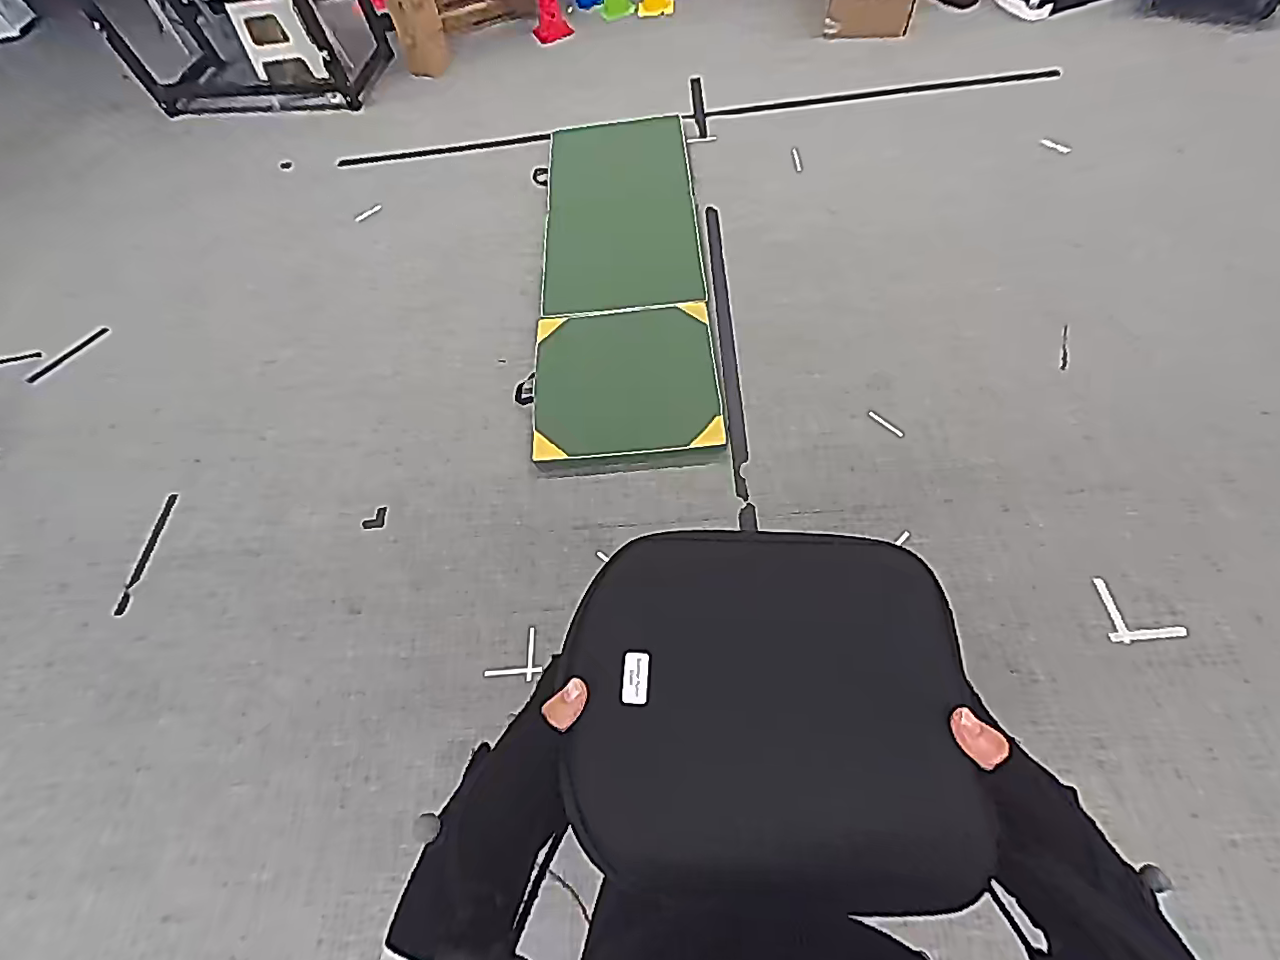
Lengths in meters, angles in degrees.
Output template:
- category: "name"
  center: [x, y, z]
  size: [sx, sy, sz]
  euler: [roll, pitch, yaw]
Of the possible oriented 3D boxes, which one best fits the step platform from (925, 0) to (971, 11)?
- category: "step platform"
  center: [1.804, -2.670, 2.770]
  size: [0.684, 0.204, 0.286]
  euler: [-30, 63, -9]
